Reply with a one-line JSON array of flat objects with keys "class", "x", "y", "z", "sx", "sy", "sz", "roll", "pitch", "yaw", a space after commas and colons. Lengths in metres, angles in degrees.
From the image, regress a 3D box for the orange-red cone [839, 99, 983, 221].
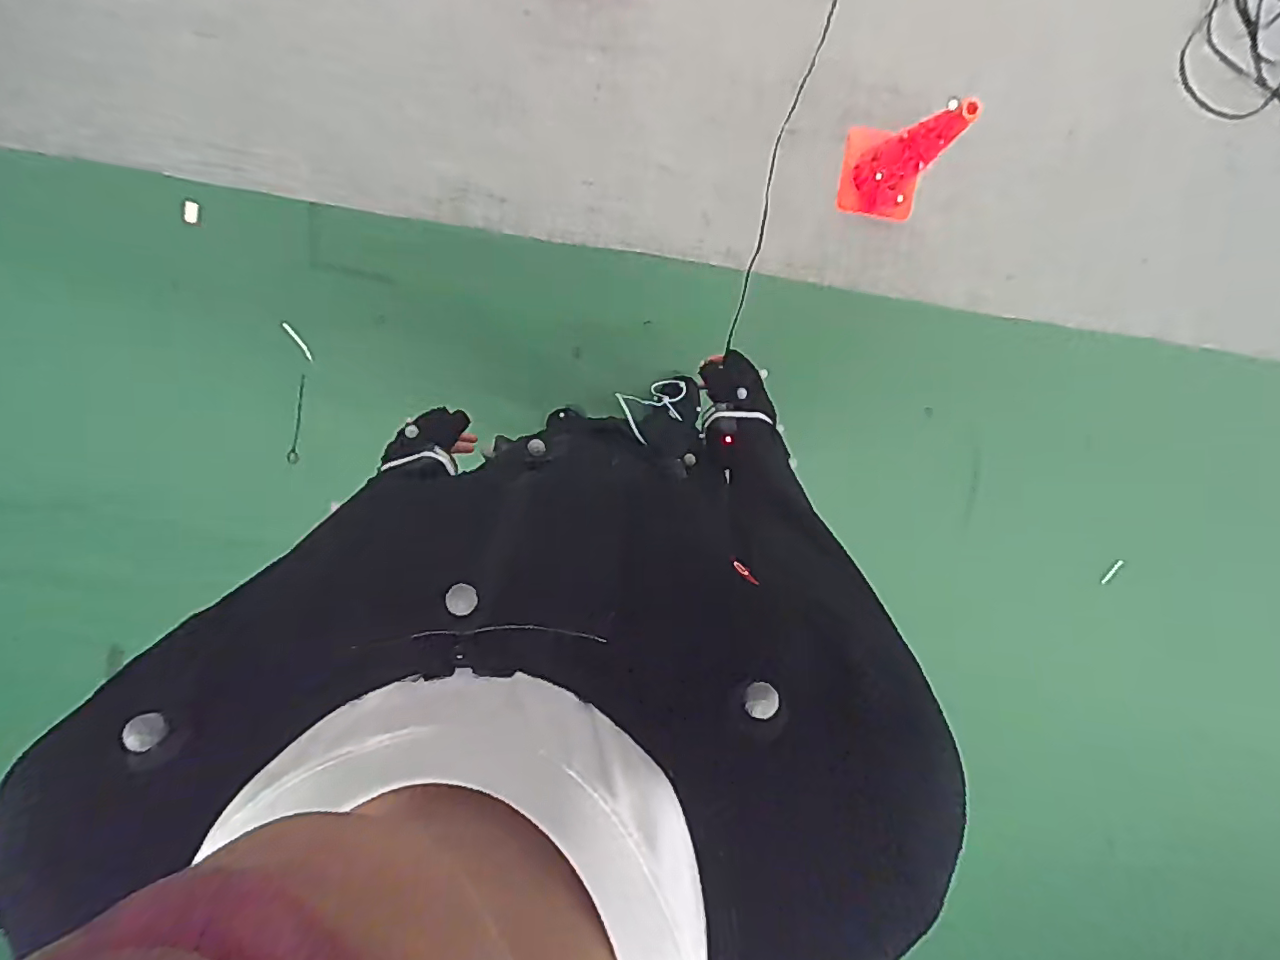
[{"class": "orange-red cone", "x": 0.629, "y": -0.751, "z": 1.214, "sx": 0.198, "sy": 0.360, "sz": 0.199, "roll": 8, "pitch": 99, "yaw": -6}]
